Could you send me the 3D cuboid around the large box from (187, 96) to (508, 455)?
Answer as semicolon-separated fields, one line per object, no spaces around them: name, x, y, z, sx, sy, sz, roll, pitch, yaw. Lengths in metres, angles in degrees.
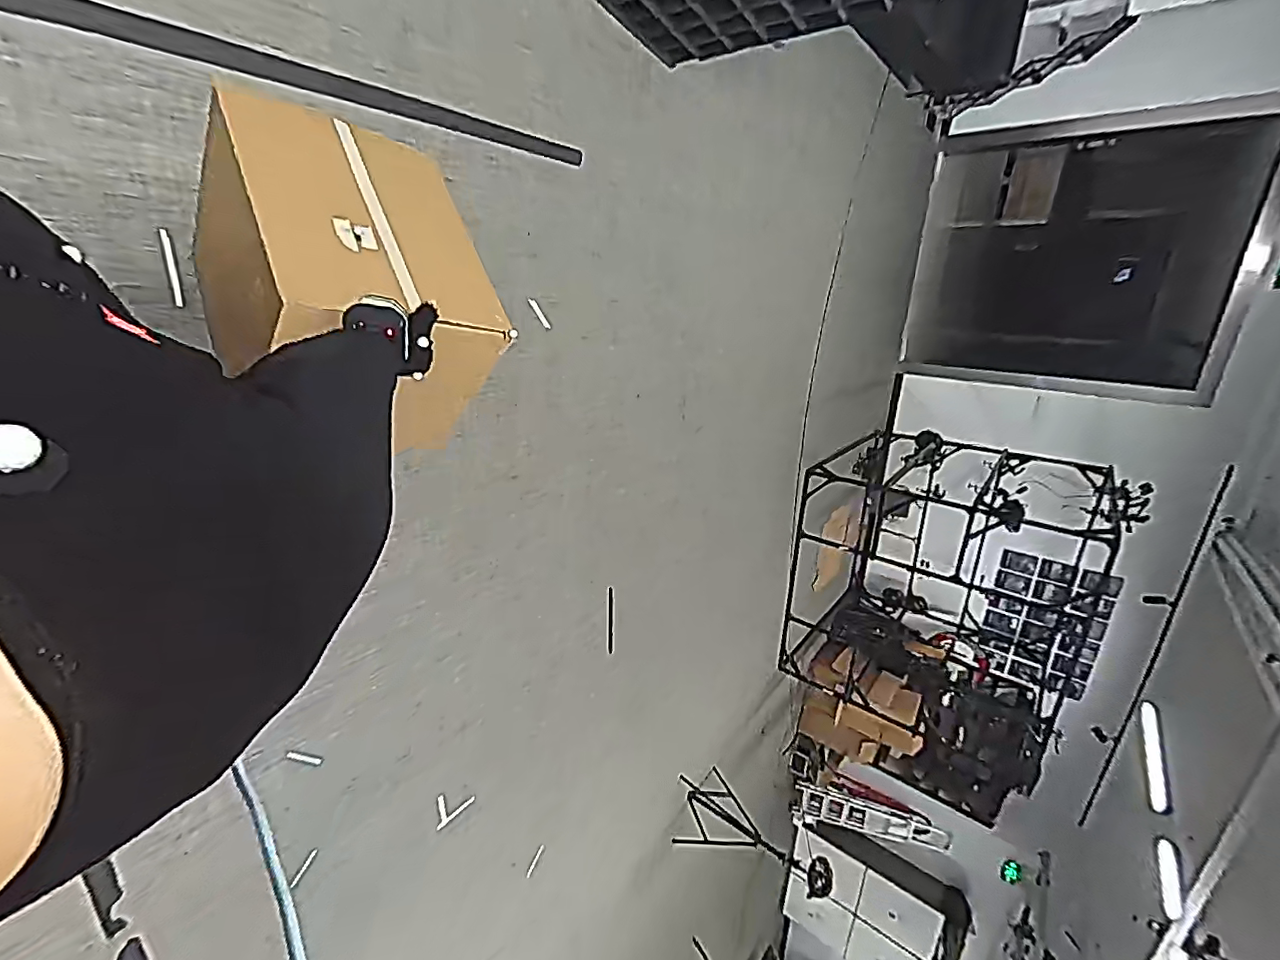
large box;-0.487;-0.293;0.883;0.320;0.320;0.408;-8;65;-48
